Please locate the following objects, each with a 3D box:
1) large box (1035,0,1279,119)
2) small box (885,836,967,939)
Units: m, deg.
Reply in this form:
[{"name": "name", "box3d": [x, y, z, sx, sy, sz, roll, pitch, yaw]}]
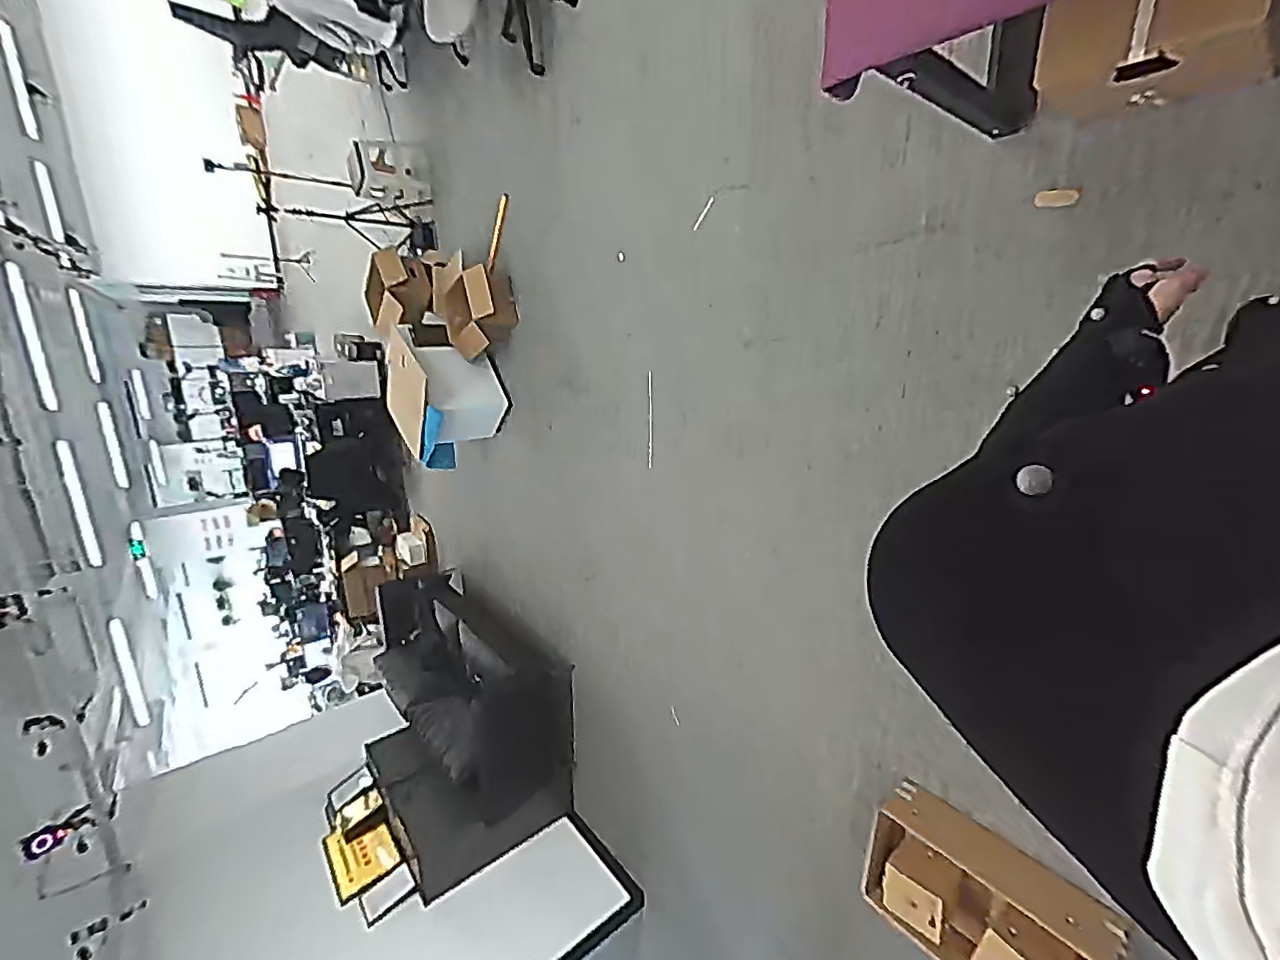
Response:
[{"name": "large box", "box3d": [0.982, -0.962, 0.985, 0.320, 0.320, 0.408, 17, 112, 48]}, {"name": "small box", "box3d": [0.916, 1.290, 1.735, 0.179, 0.176, 0.168, 13, 109, 49]}]
